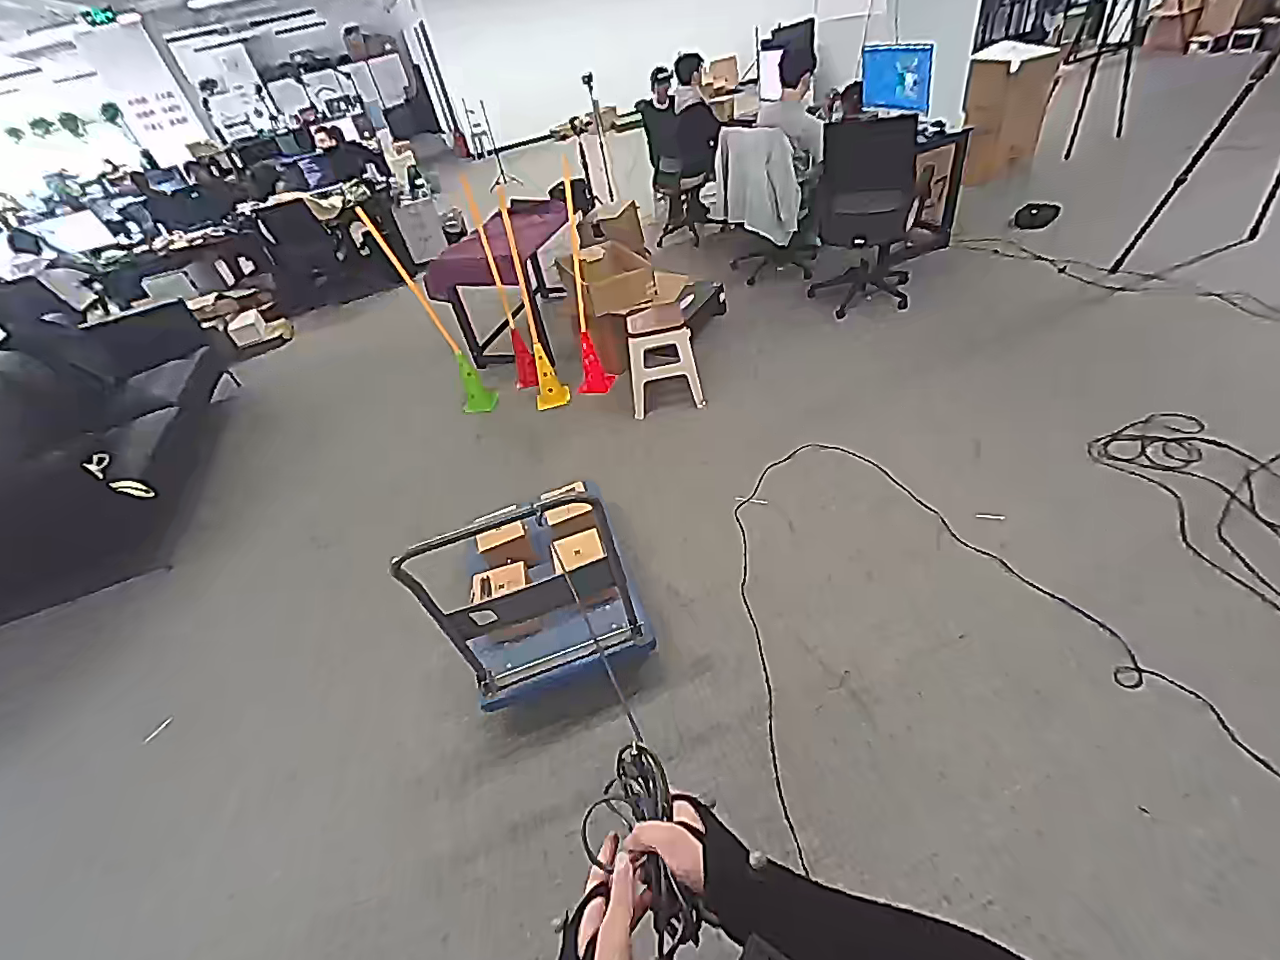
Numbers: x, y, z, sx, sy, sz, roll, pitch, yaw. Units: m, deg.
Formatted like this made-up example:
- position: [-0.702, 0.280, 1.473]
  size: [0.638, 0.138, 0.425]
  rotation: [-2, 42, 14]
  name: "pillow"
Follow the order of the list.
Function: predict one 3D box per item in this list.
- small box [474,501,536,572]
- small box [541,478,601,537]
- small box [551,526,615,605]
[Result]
- position: [-0.496, 0.216, 1.998]
  size: [0.168, 0.176, 0.179]
  rotation: [-21, 42, -9]
  name: "small box"
- position: [-0.257, 0.129, 2.029]
  size: [0.168, 0.176, 0.179]
  rotation: [-20, 42, -7]
  name: "small box"
- position: [-0.192, 0.290, 1.835]
  size: [0.168, 0.176, 0.179]
  rotation: [-18, 43, -5]
  name: "small box"
